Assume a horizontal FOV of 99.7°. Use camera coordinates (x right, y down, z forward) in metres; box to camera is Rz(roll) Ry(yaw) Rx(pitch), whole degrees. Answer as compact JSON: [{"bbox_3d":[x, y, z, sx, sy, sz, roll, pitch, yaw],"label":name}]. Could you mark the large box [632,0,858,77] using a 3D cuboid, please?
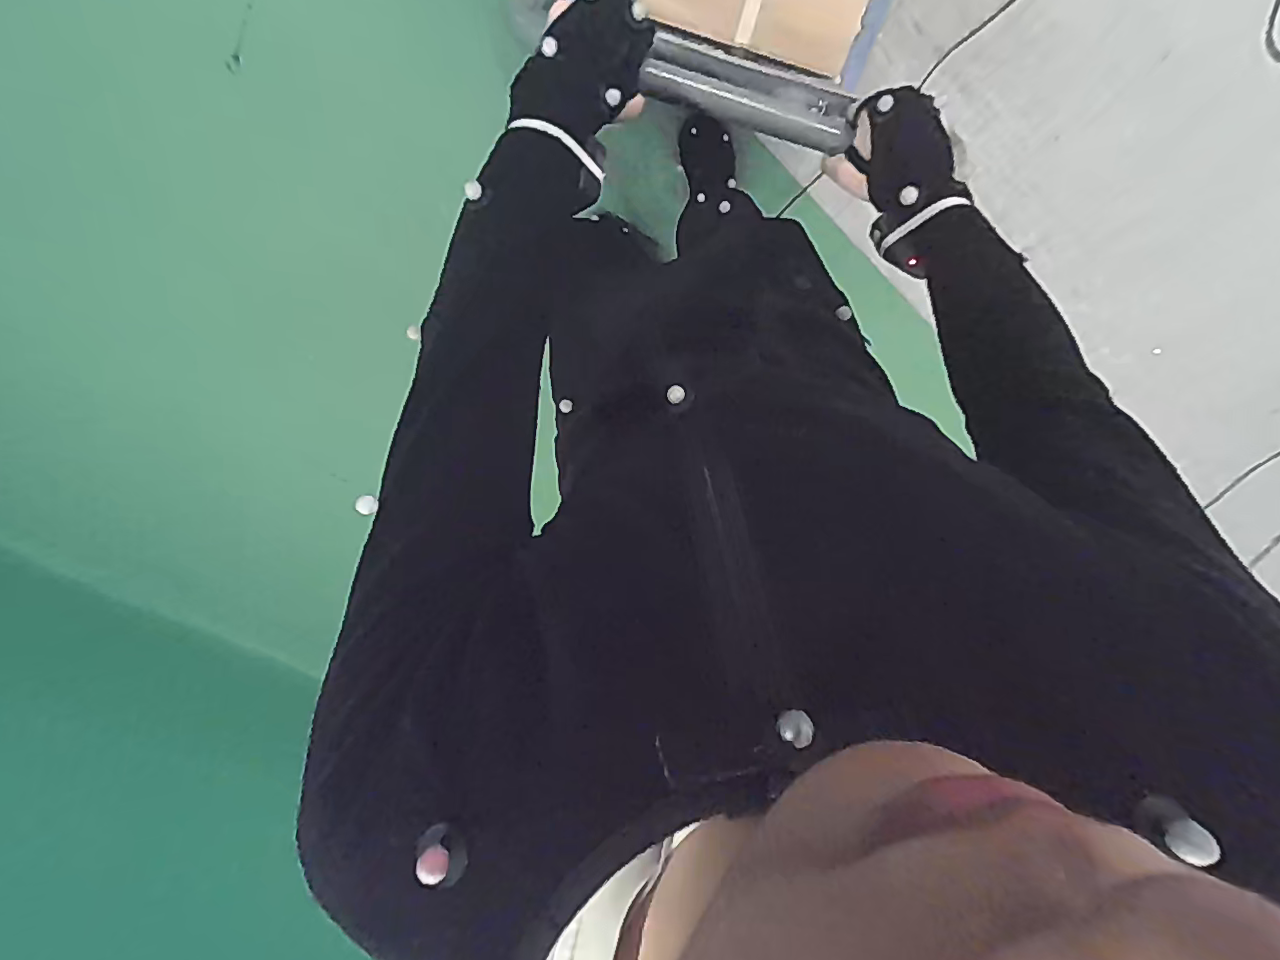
[{"bbox_3d":[0.188,-0.873,0.791,0.320,0.320,0.408,13,128,-7],"label":"large box"}]
